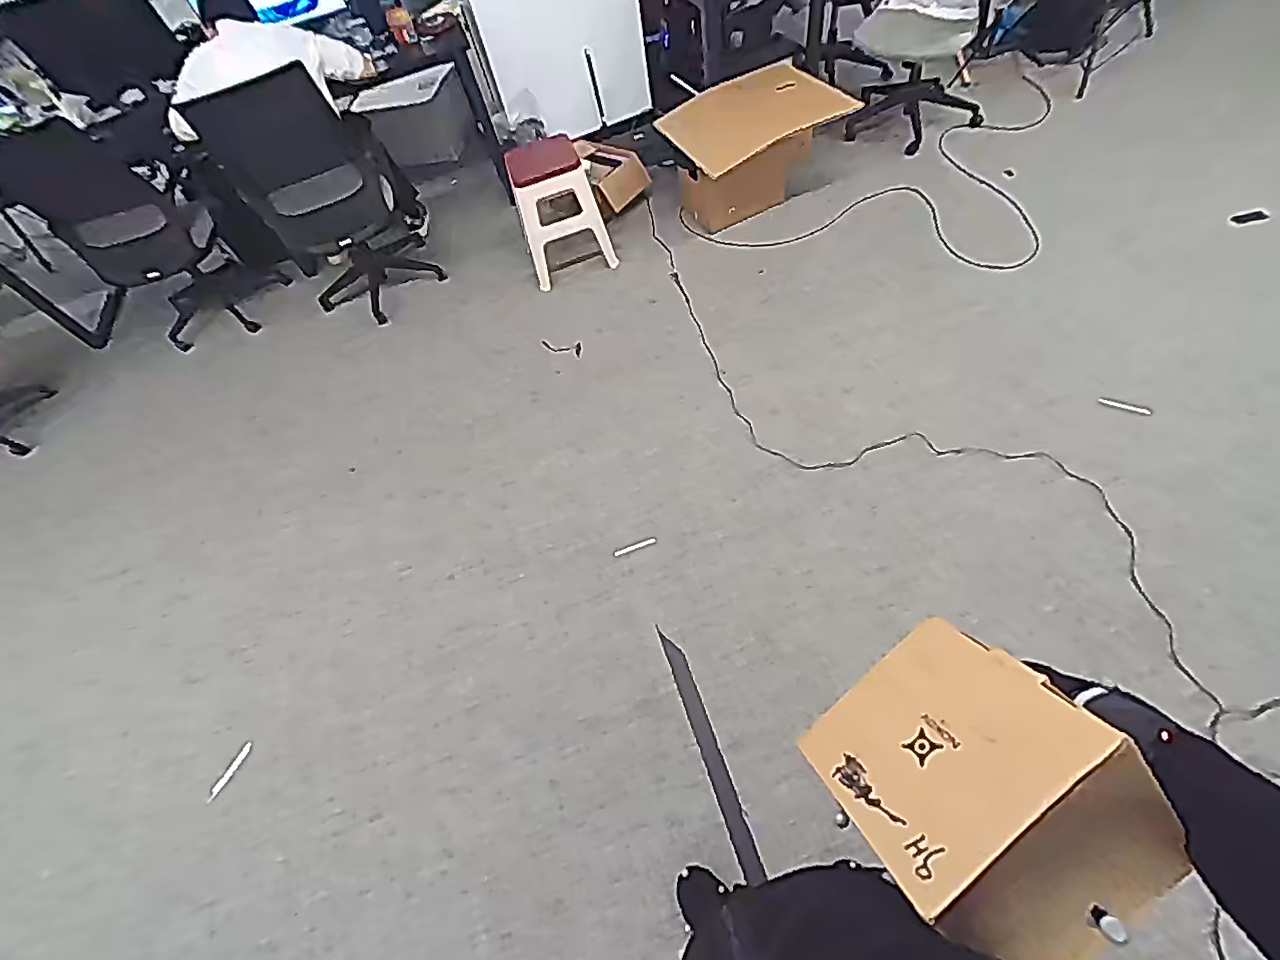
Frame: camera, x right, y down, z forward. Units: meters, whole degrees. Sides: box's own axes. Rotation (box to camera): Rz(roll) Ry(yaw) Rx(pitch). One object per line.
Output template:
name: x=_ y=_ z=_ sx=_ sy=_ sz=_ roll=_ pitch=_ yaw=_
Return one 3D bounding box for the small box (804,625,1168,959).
small box: x=0.282 y=0.267 z=0.453 sx=0.179 sy=0.176 sz=0.168 roll=-42 pitch=19 yaw=-1
